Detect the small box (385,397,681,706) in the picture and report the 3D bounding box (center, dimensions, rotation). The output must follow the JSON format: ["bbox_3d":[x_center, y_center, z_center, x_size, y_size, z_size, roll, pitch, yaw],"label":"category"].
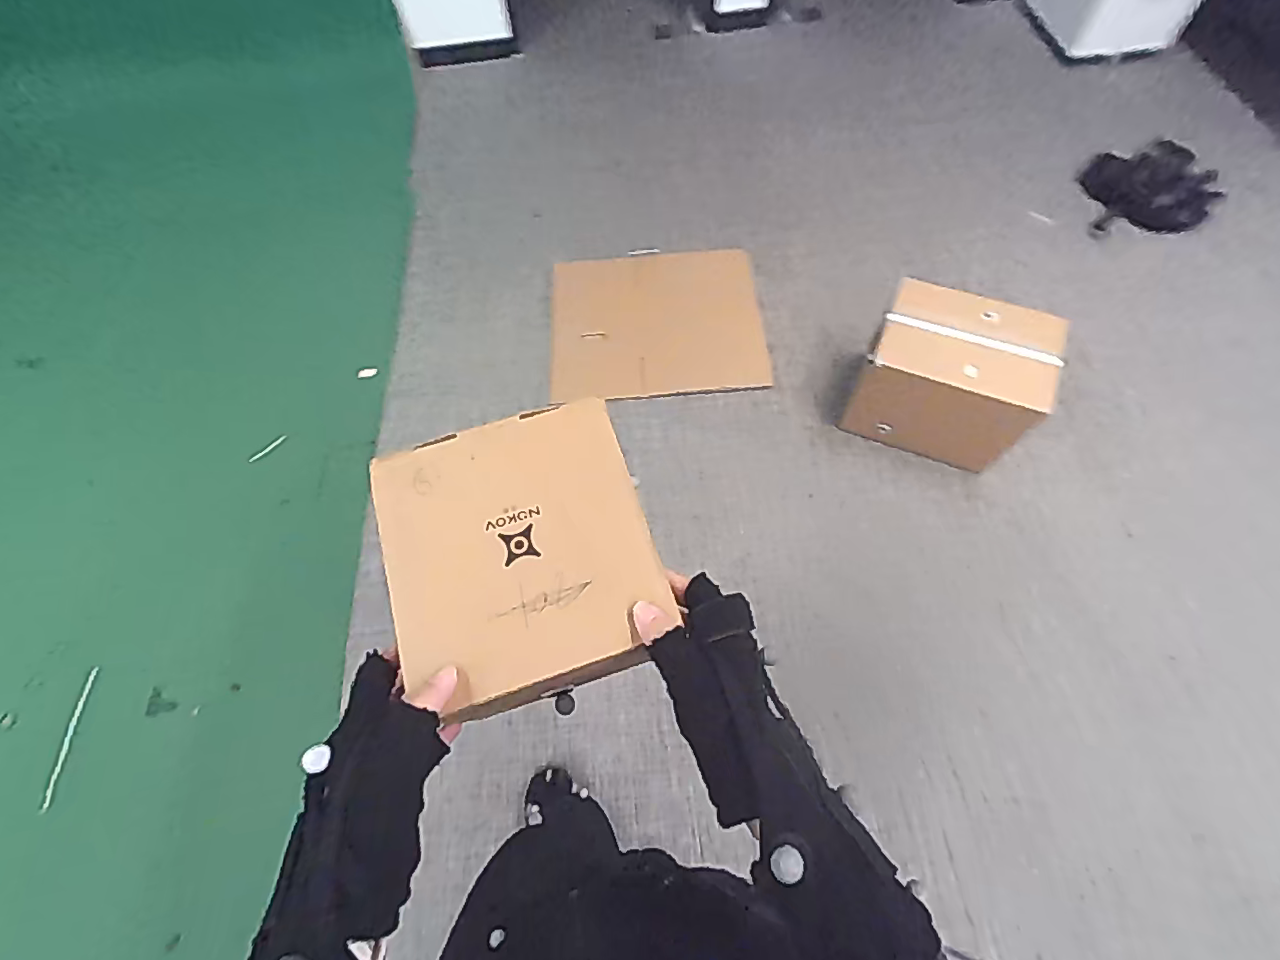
[{"bbox_3d":[-0.077,0.066,0.428,0.168,0.176,0.179,-16,68,-7],"label":"small box"}]
